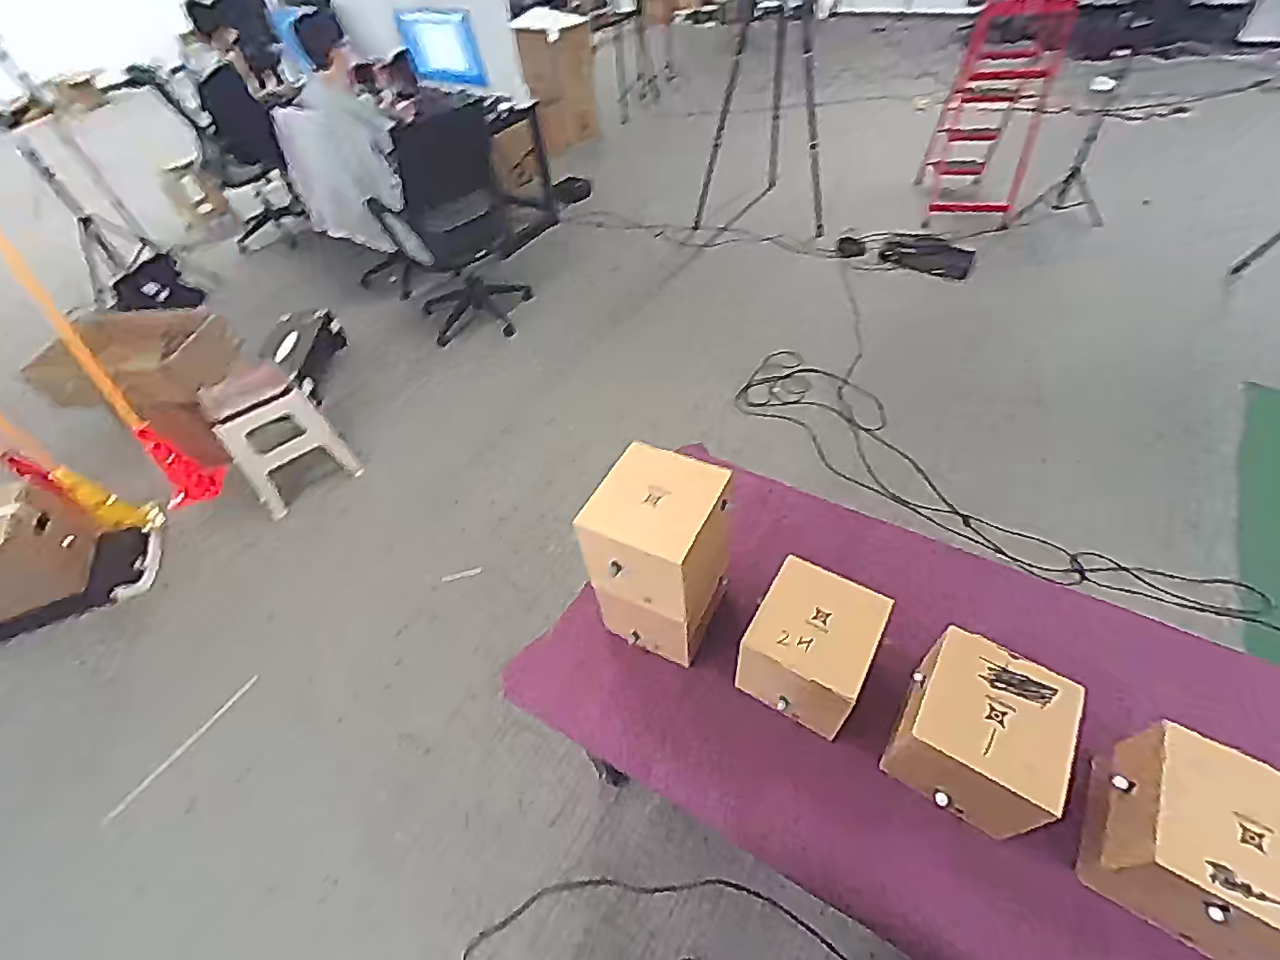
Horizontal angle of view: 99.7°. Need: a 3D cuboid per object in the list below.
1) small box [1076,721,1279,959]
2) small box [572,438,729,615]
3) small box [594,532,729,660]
[{"bbox_3d":[0.659,0.431,0.639,0.168,0.176,0.179,25,56,26],"label":"small box"},{"bbox_3d":[0.026,0.071,0.807,0.168,0.176,0.179,19,53,22],"label":"small box"},{"bbox_3d":[0.042,0.174,0.931,0.168,0.176,0.179,19,54,22],"label":"small box"}]
